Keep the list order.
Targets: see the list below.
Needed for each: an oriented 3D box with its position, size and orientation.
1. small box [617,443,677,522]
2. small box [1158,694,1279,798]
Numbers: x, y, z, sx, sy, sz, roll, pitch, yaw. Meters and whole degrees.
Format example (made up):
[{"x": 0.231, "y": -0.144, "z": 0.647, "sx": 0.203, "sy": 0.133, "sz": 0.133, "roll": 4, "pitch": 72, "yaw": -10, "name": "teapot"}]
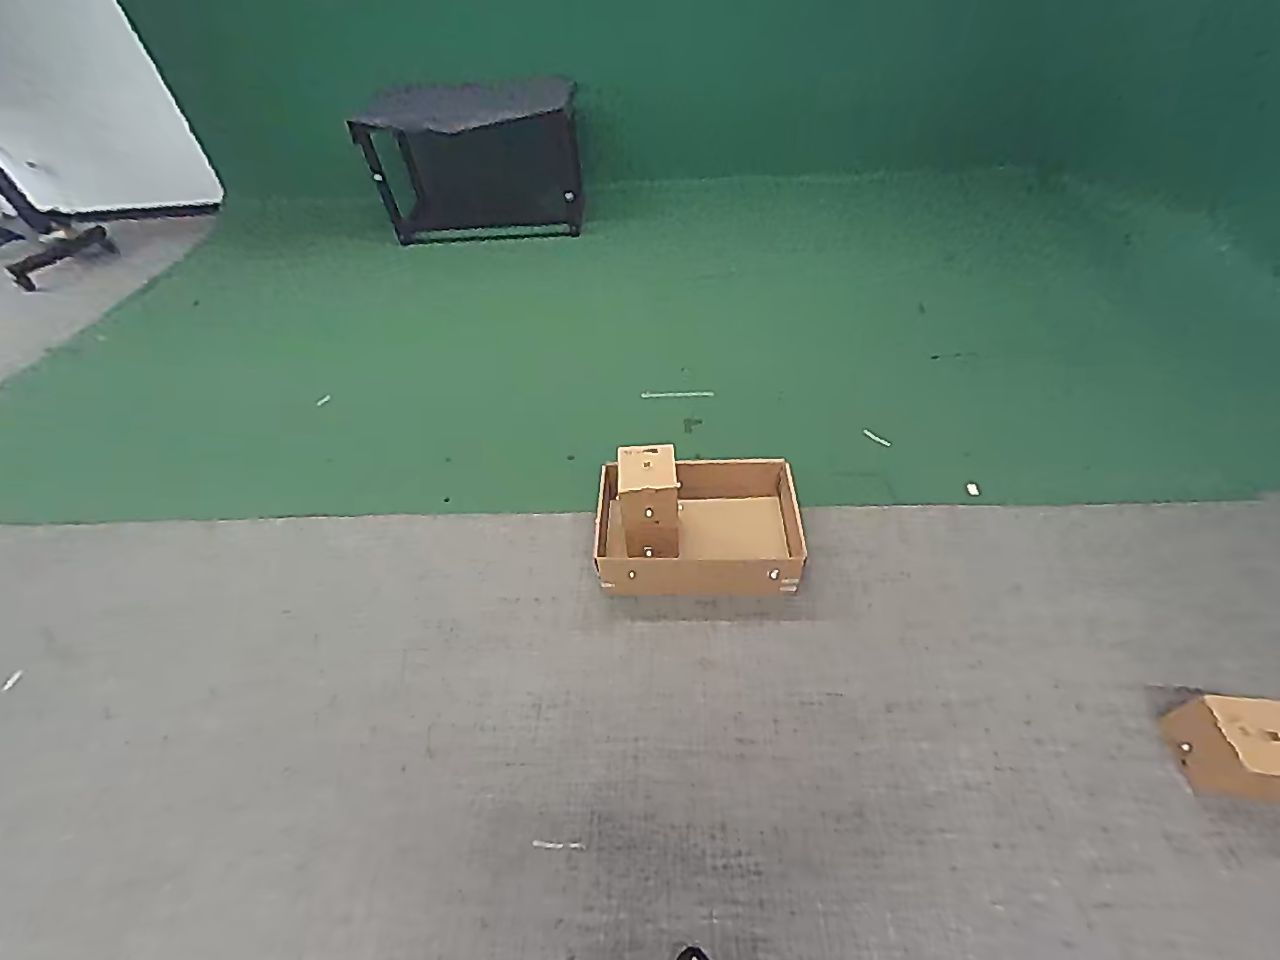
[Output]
[{"x": 0.022, "y": 0.014, "z": 1.585, "sx": 0.168, "sy": 0.176, "sz": 0.179, "roll": -3, "pitch": 49, "yaw": 2, "name": "small box"}, {"x": 1.361, "y": 0.608, "z": 1.231, "sx": 0.179, "sy": 0.176, "sz": 0.168, "roll": 3, "pitch": 47, "yaw": 7, "name": "small box"}]
